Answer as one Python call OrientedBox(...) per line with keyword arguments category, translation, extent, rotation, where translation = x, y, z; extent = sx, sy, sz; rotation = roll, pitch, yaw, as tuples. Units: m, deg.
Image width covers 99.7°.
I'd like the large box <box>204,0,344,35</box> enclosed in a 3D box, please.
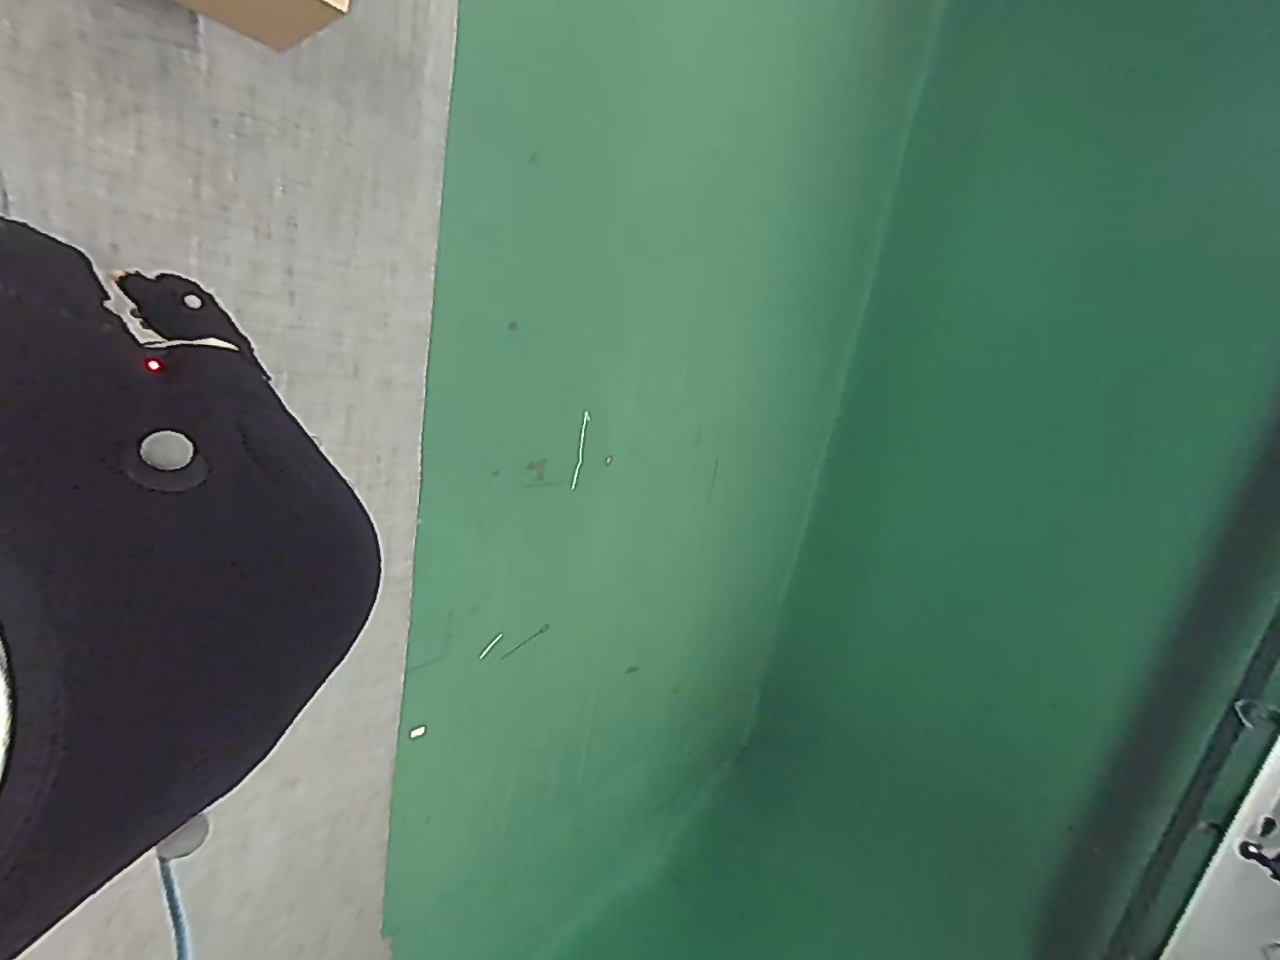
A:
OrientedBox(category="large box", translation=(-0.663, -0.914, 0.742), extent=(0.408, 0.320, 0.320), rotation=(-4, 110, -49))
